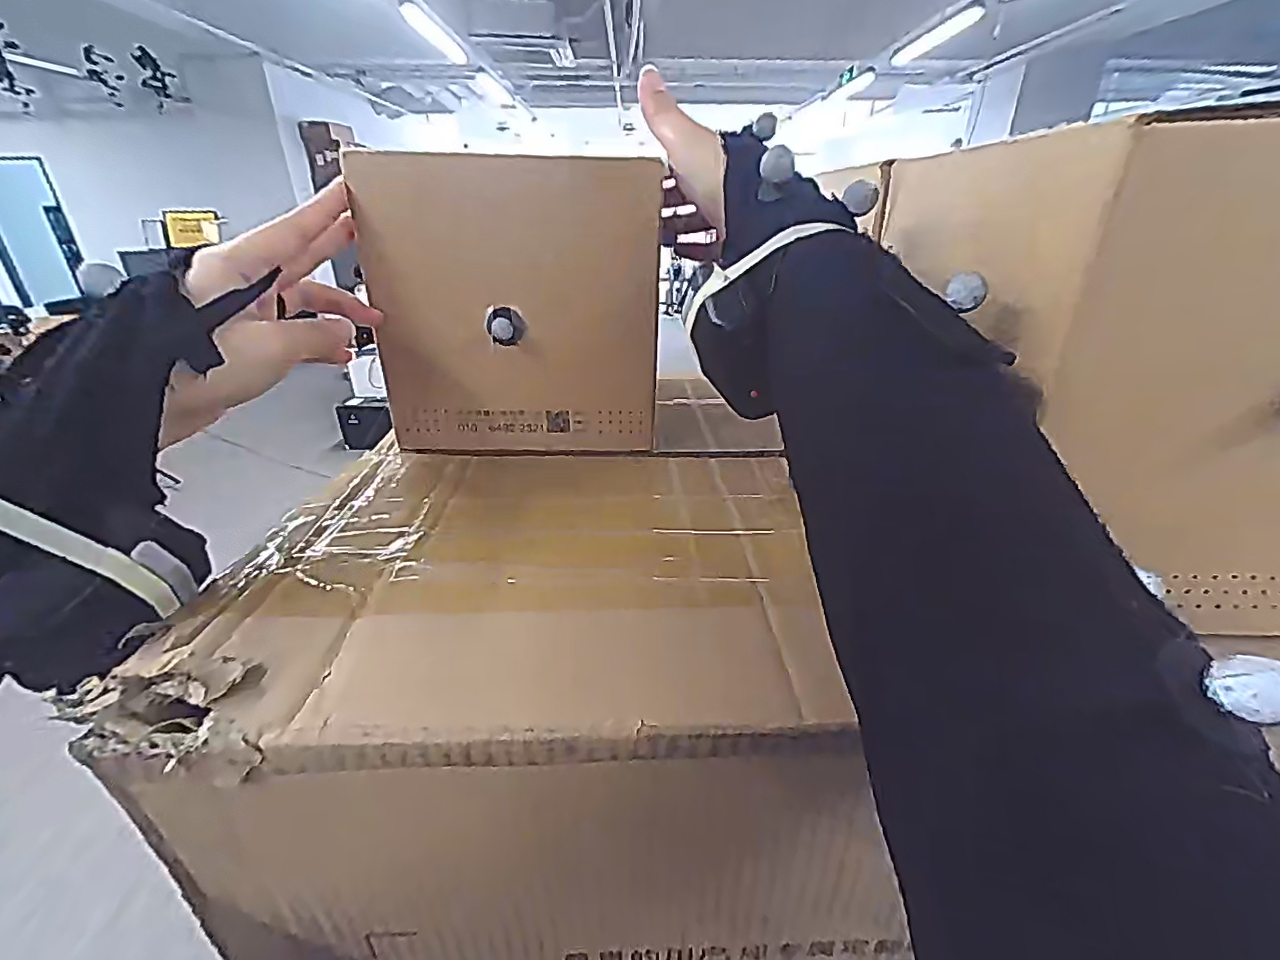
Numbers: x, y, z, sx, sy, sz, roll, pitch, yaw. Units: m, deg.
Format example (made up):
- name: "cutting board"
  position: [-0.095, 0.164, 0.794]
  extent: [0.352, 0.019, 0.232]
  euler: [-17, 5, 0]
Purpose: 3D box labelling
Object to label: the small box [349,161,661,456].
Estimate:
- name: "small box"
  position: [-0.071, -0.124, 0.387]
  extent: [0.168, 0.176, 0.179]
  euler: [1, 27, -2]
